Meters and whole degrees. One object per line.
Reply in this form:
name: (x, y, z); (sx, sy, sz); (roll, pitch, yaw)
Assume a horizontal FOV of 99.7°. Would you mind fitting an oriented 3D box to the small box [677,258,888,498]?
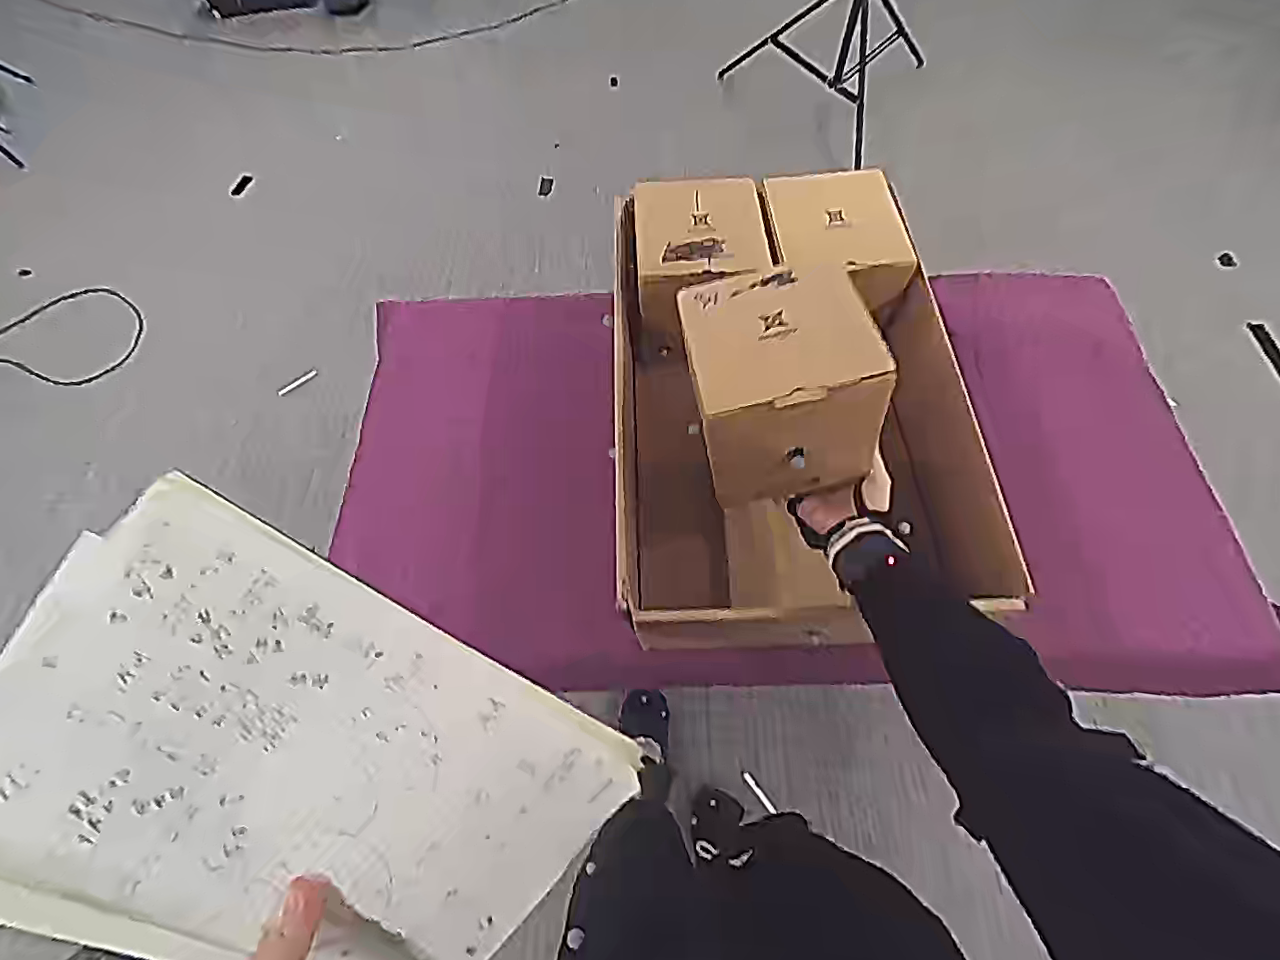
small box: (0.143, -0.096, 0.576); (0.168, 0.176, 0.179); (-12, 55, 7)
